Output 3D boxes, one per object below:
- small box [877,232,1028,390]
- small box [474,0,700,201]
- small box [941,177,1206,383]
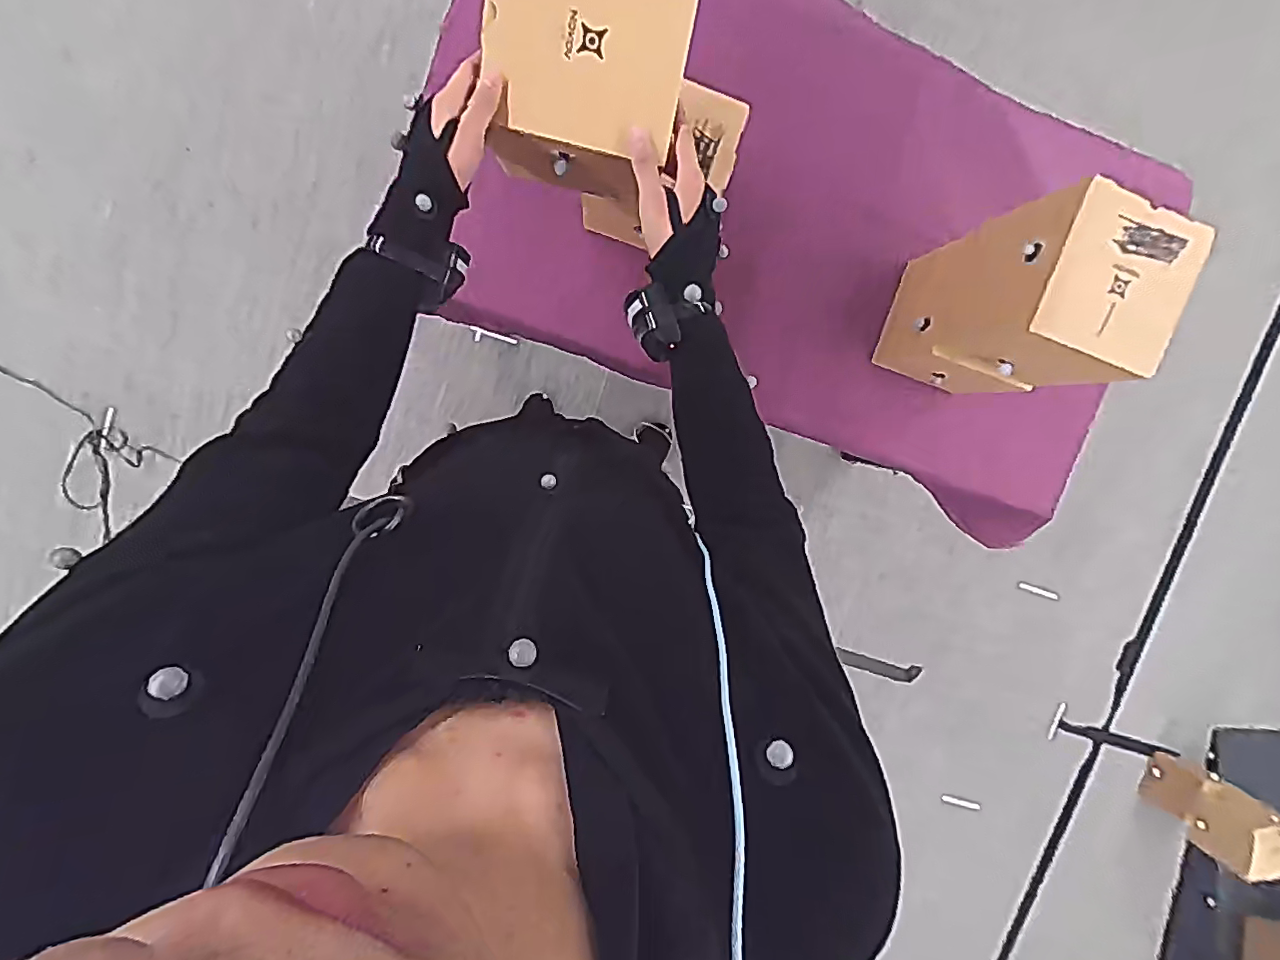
[{"bbox_3d":[0.501,-0.247,0.841,0.168,0.176,0.179,18,96,-8],"label":"small box"},{"bbox_3d":[-0.049,-0.397,0.539,0.179,0.176,0.168,11,105,-5],"label":"small box"},{"bbox_3d":[0.521,-0.232,0.679,0.168,0.176,0.179,19,96,-7],"label":"small box"}]
